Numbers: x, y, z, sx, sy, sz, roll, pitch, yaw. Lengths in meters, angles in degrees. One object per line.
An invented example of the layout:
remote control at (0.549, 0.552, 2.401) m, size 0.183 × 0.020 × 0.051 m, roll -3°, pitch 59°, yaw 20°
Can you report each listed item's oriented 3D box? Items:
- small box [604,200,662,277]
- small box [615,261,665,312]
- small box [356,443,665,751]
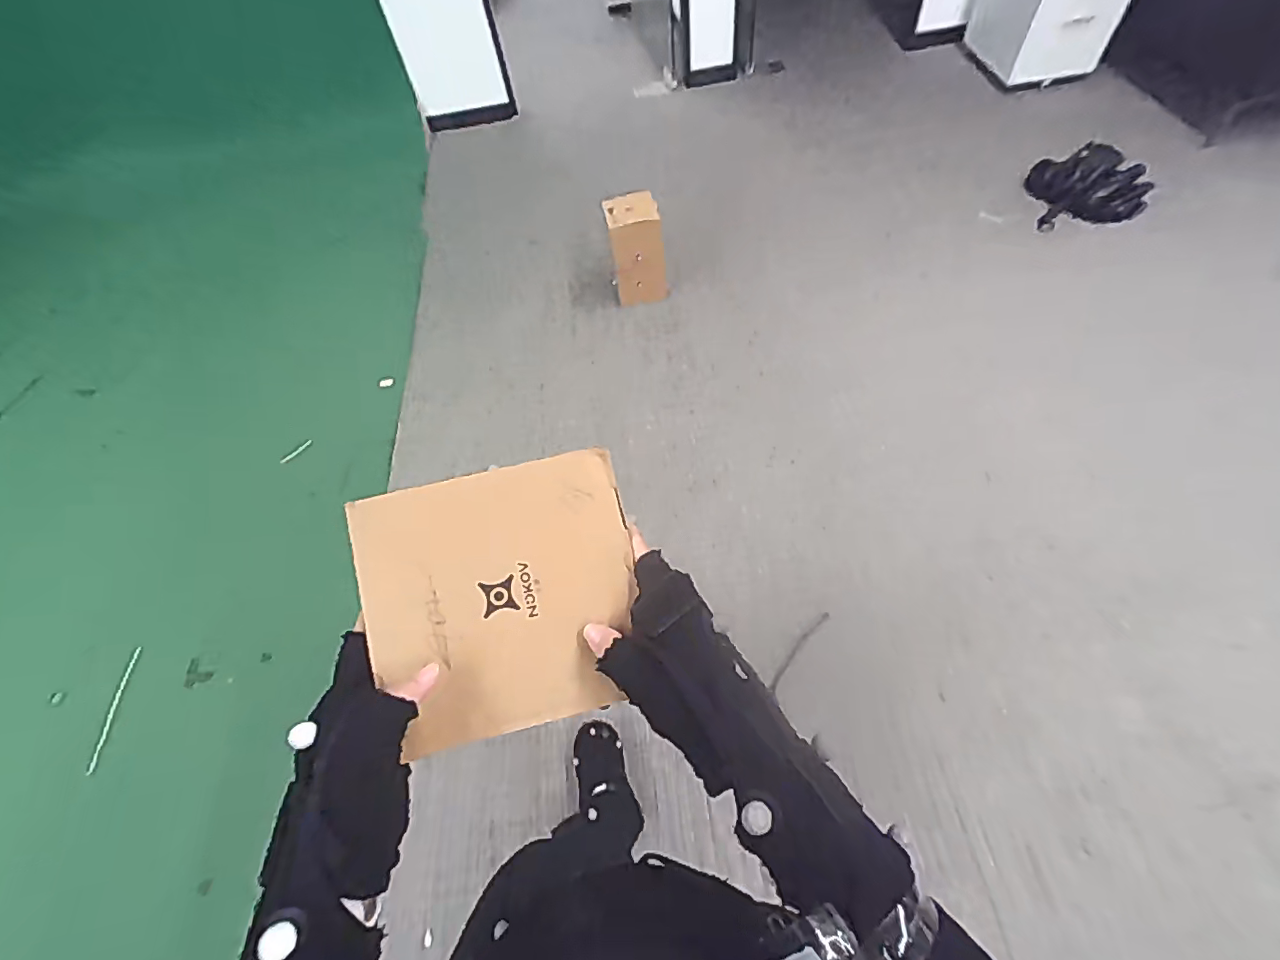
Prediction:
small box at (-0.022, -0.843, 1.894) m, size 0.179 × 0.176 × 0.168 m, roll -11°, pitch 57°, yaw -1°
small box at (-0.004, -0.758, 2.033) m, size 0.179 × 0.176 × 0.168 m, roll -10°, pitch 57°, yaw 1°
small box at (-0.091, 0.086, 0.432) m, size 0.179 × 0.176 × 0.168 m, roll -14°, pitch 79°, yaw -6°
